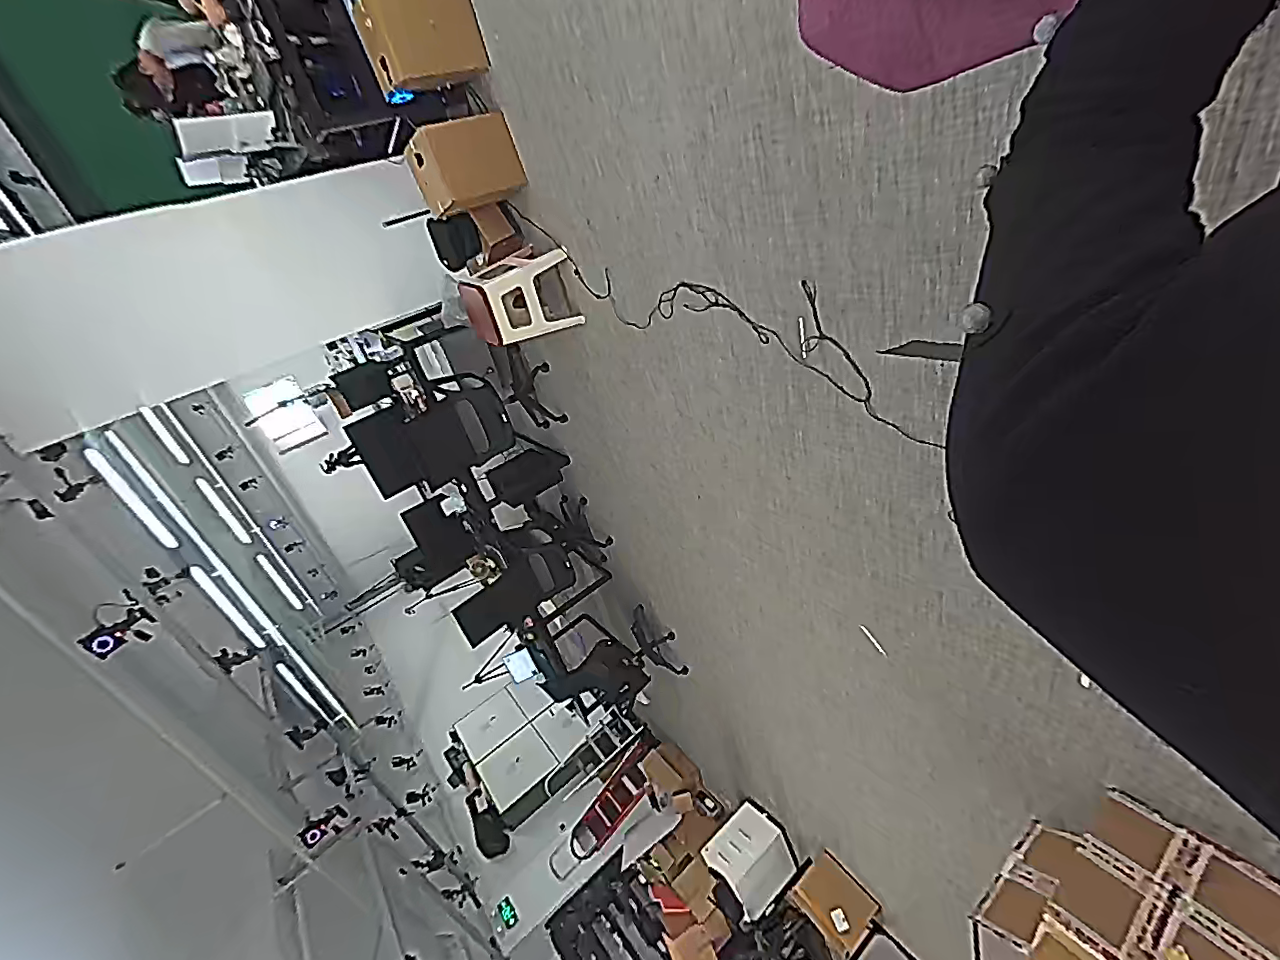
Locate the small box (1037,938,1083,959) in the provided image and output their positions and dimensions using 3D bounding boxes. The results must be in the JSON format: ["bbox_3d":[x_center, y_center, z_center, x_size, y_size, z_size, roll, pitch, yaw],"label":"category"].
[{"bbox_3d":[1.163,1.407,1.460,0.179,0.176,0.168,33,144,46],"label":"small box"}]
